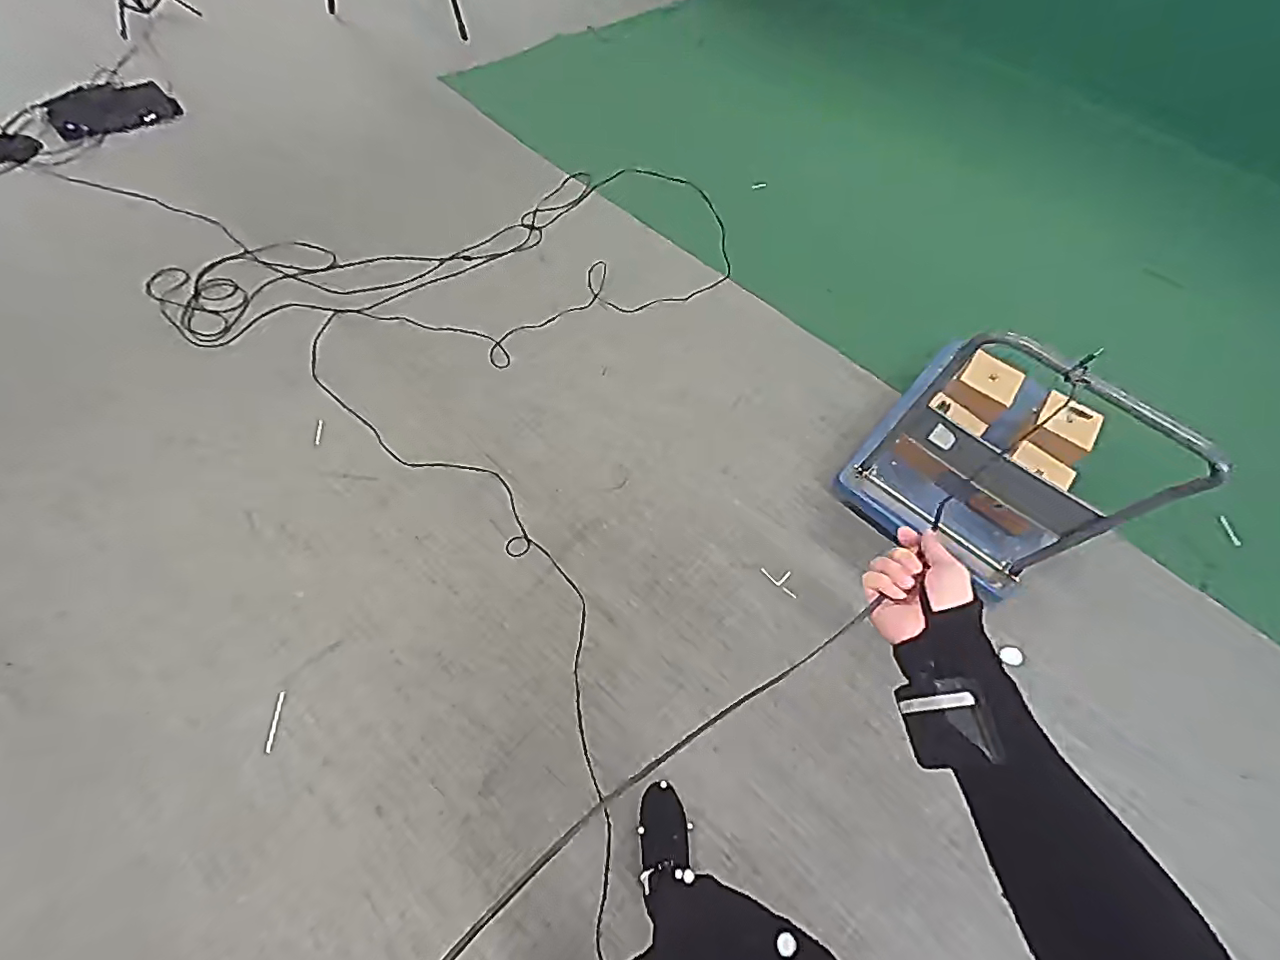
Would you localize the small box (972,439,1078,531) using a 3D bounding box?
[{"bbox_3d":[1.134,0.018,1.604,0.168,0.176,0.179,41,65,17],"label":"small box"}]

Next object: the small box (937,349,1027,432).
[{"bbox_3d":[1.118,-0.290,1.781,0.168,0.176,0.179,37,63,14],"label":"small box"}]

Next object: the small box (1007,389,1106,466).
[{"bbox_3d":[1.315,-0.148,1.717,0.168,0.176,0.179,36,64,16],"label":"small box"}]
